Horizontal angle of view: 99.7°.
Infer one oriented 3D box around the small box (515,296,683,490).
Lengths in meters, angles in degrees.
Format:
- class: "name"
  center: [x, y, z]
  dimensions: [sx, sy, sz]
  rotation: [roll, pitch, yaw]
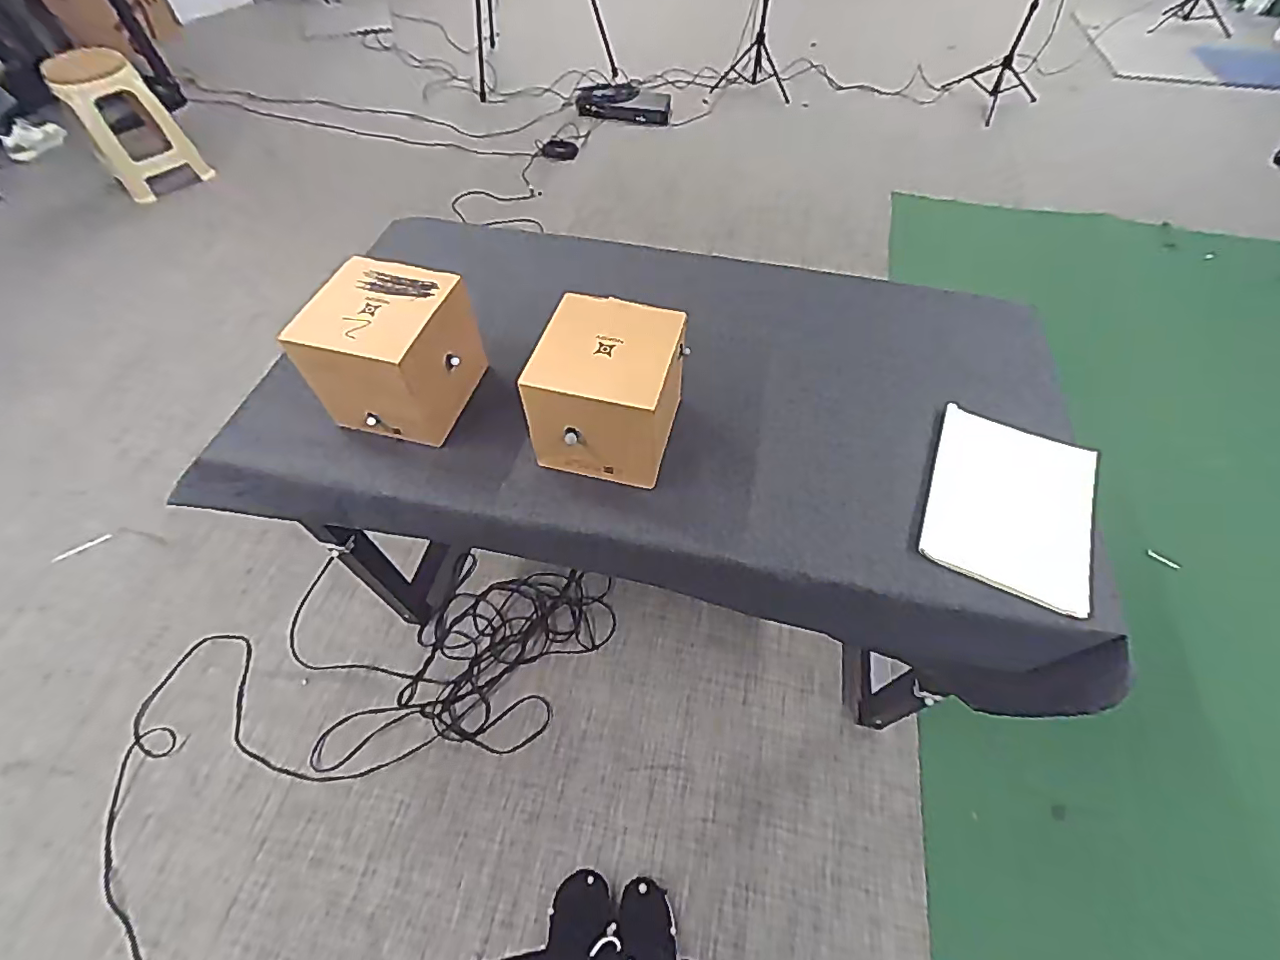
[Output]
- class: "small box"
  center: [-0.043, -0.110, 0.714]
  dimensions: [0.168, 0.176, 0.179]
  rotation: [12, 56, 8]
